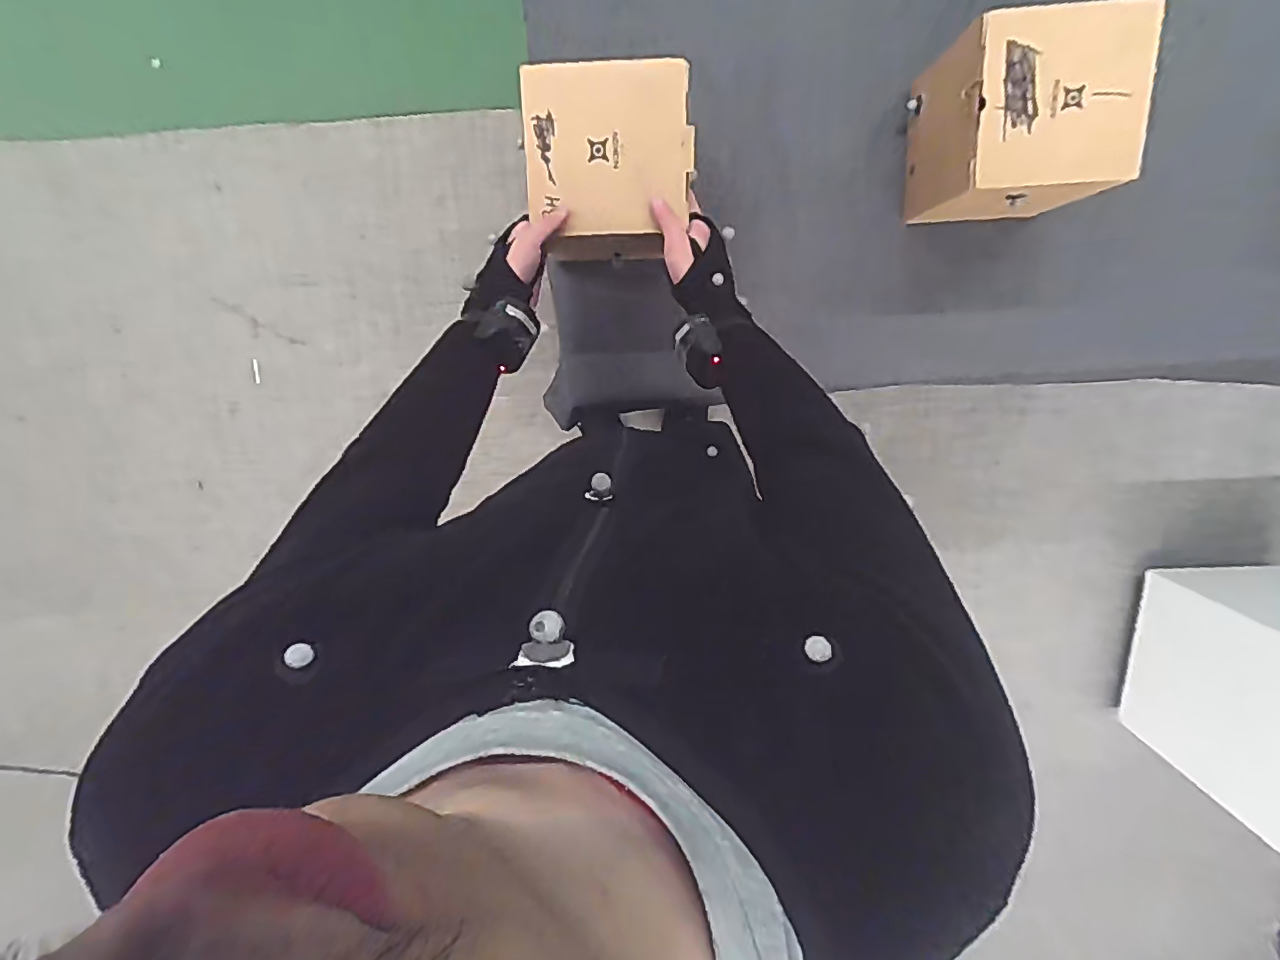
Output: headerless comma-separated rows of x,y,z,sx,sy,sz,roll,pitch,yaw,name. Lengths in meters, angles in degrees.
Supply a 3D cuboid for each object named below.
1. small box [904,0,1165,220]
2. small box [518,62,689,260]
0.430,-0.408,0.625,0.179,0.176,0.168,-3,105,1,small box
-0.037,-0.361,0.640,0.179,0.176,0.168,-1,104,1,small box
